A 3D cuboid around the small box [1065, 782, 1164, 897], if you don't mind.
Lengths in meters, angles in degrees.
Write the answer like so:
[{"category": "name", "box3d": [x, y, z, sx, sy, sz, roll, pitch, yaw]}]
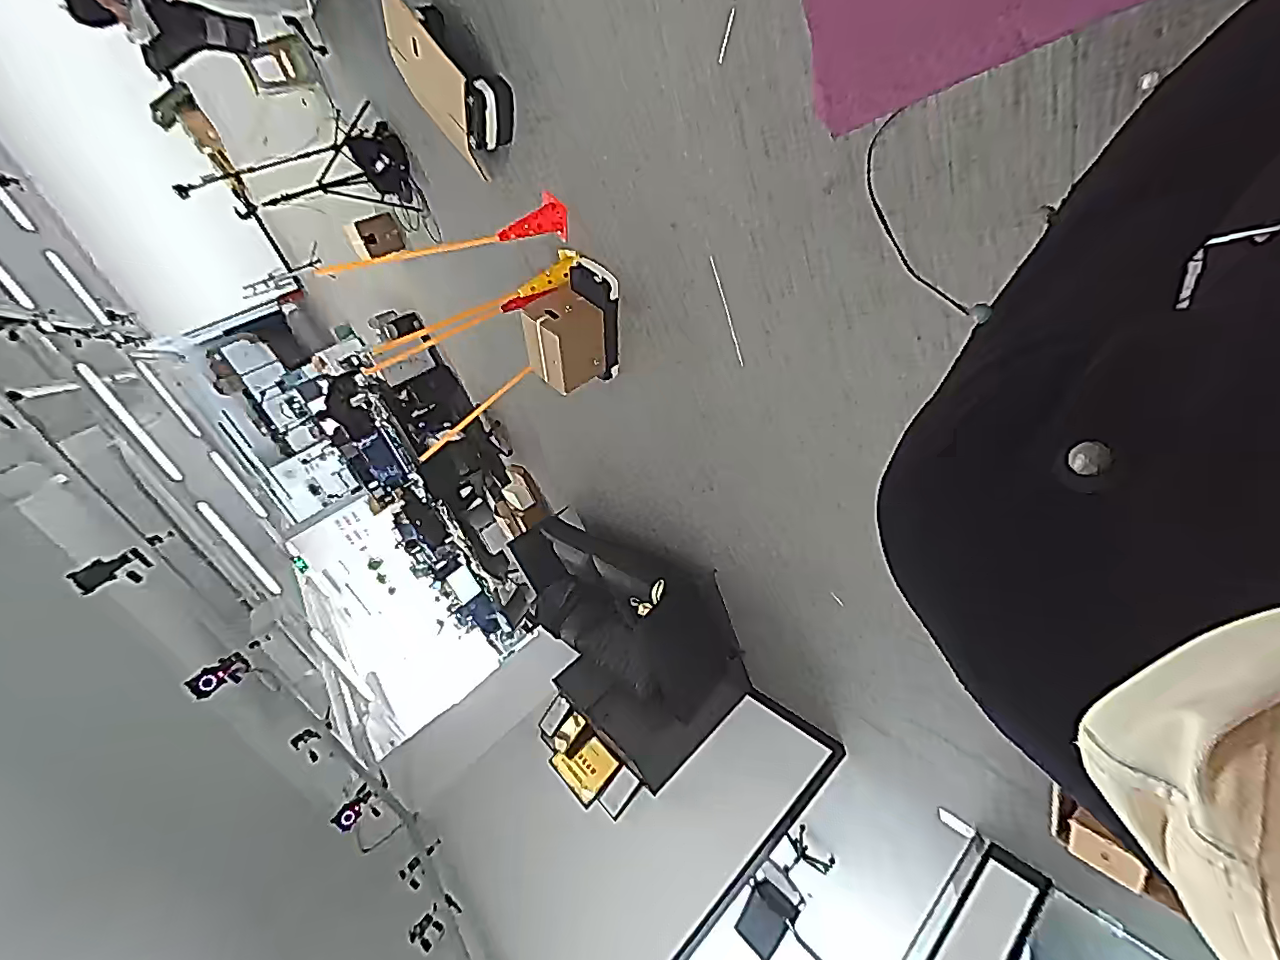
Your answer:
[{"category": "small box", "box3d": [1.345, 1.013, 1.535, 0.168, 0.176, 0.179, 21, 138, 51]}]
